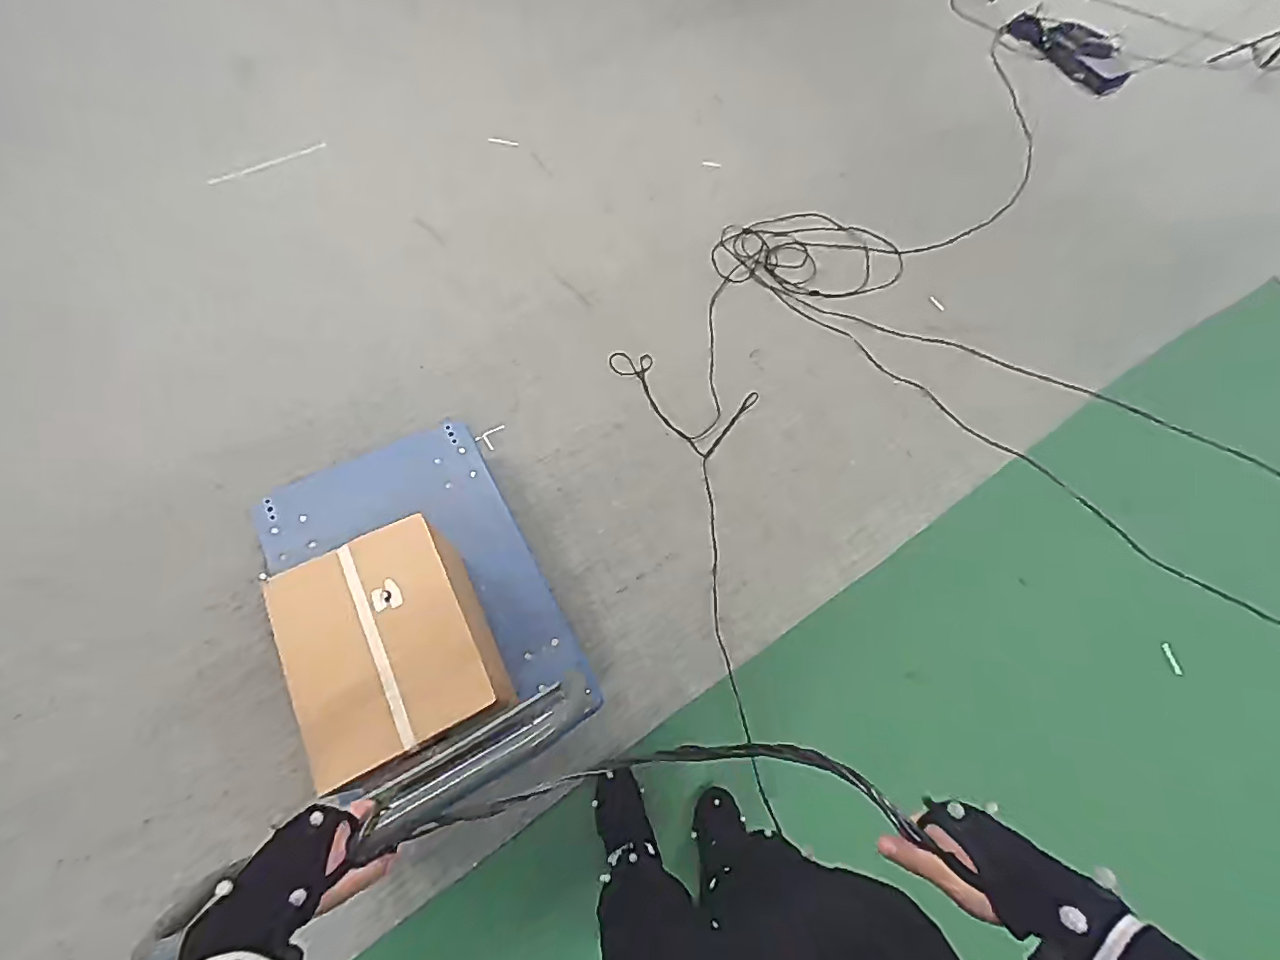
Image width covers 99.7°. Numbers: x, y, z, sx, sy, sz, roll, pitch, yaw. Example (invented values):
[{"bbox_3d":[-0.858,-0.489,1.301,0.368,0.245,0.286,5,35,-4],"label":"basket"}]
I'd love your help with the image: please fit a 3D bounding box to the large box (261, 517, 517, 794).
[{"bbox_3d":[-0.492,0.356,1.118,0.320,0.320,0.408,-25,69,-15],"label":"large box"}]
